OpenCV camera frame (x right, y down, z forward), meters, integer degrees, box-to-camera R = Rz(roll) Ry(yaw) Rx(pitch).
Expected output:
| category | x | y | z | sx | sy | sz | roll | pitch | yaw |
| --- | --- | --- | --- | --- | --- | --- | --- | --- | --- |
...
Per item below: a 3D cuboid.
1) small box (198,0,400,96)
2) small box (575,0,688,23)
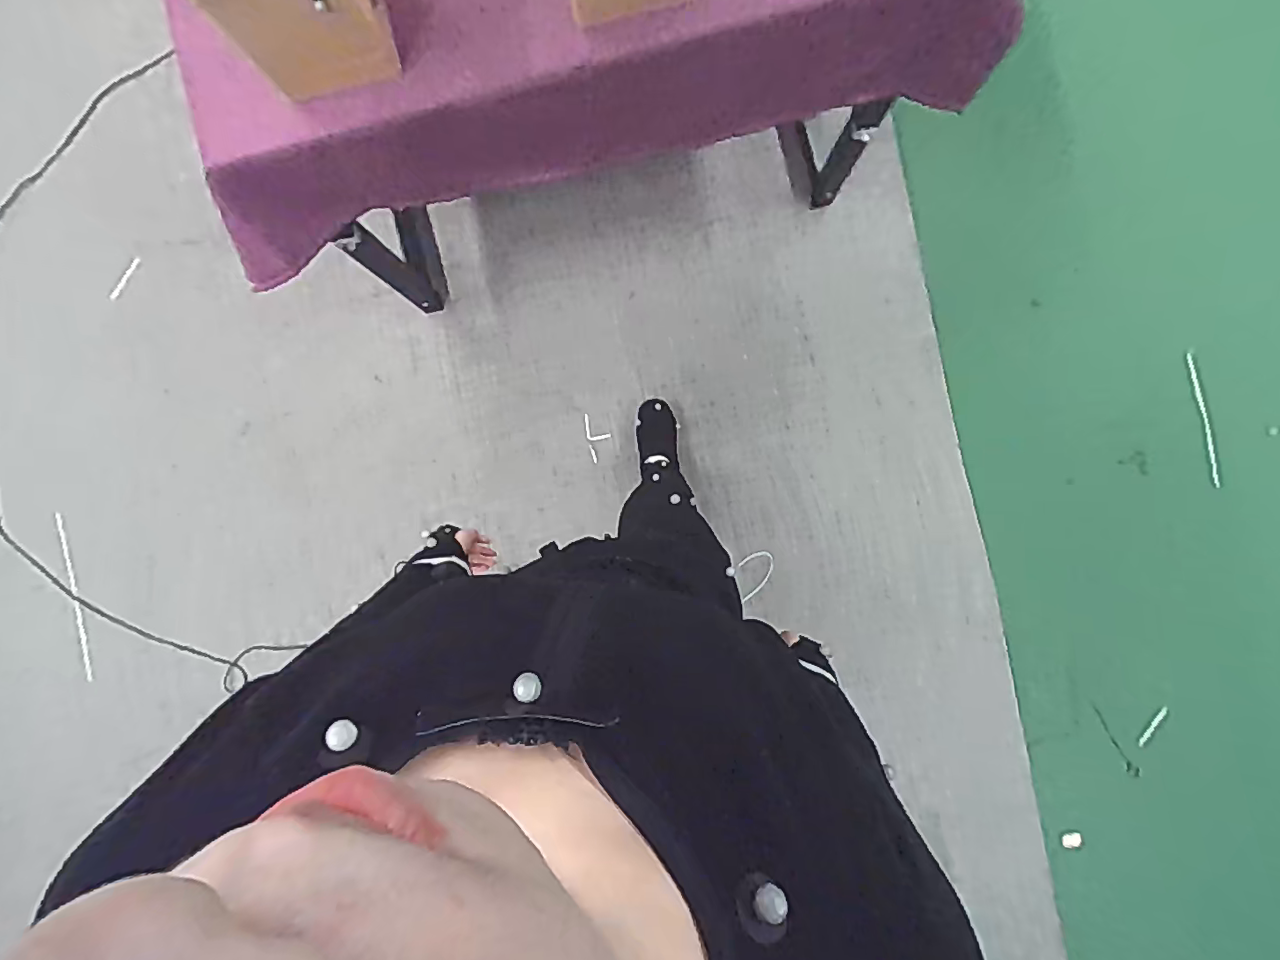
| category | x | y | z | sx | sy | sz | roll | pitch | yaw |
| --- | --- | --- | --- | --- | --- | --- | --- | --- | --- |
| small box | -0.449 | -0.651 | 0.710 | 0.179 | 0.176 | 0.168 | -14 | 89 | 0 |
| small box | -0.019 | -0.750 | 0.703 | 0.179 | 0.176 | 0.168 | -12 | 90 | 1 |
